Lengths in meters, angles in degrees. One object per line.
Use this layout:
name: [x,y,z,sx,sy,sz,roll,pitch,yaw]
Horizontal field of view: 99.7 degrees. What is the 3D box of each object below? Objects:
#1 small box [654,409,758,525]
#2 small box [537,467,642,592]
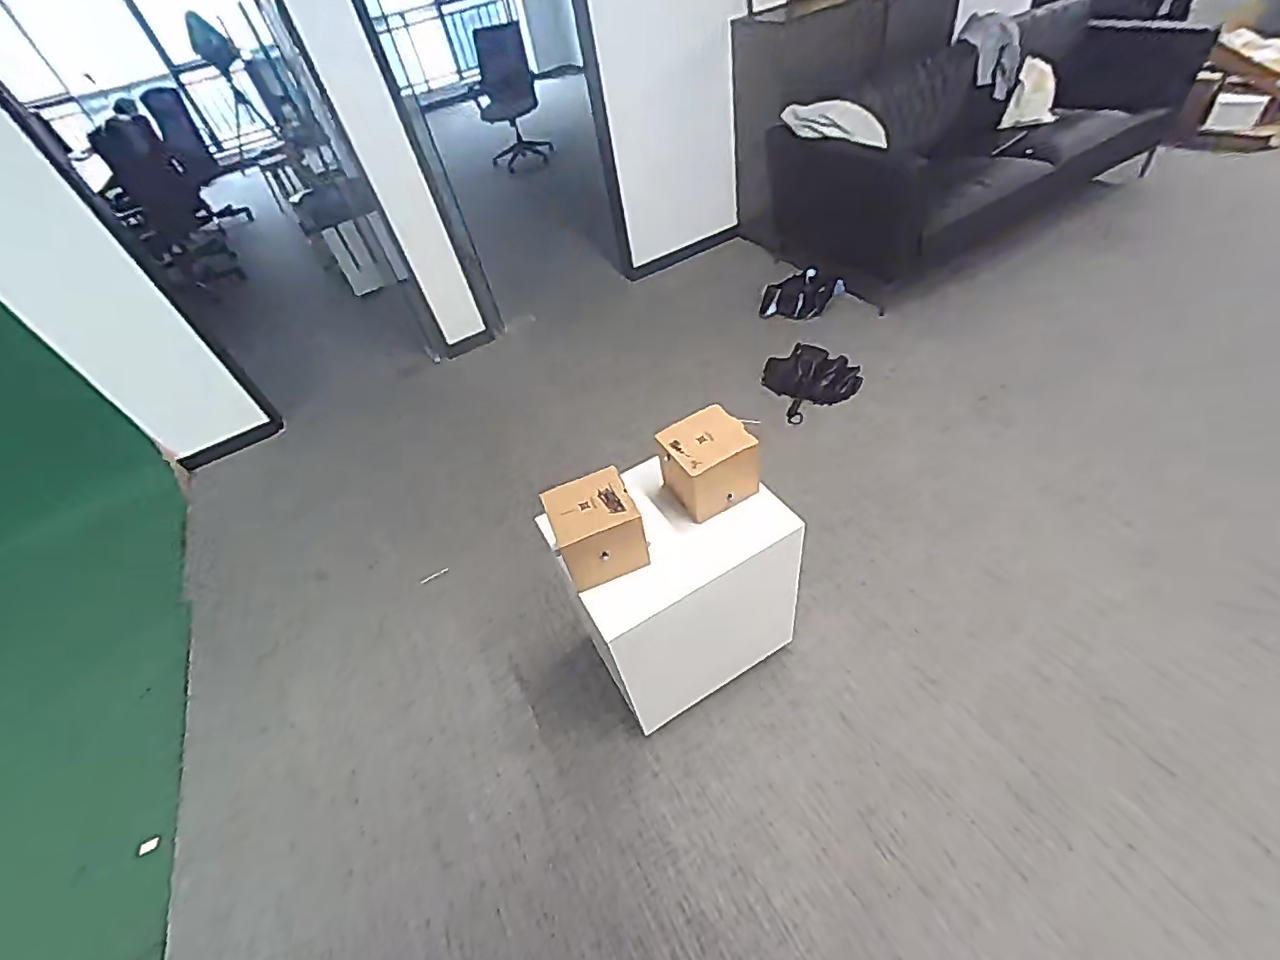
small box: [0.151,-0.029,1.246,0.179,0.176,0.168,-25,47,-15]
small box: [-0.101,0.107,1.156,0.179,0.176,0.168,-20,46,-10]
